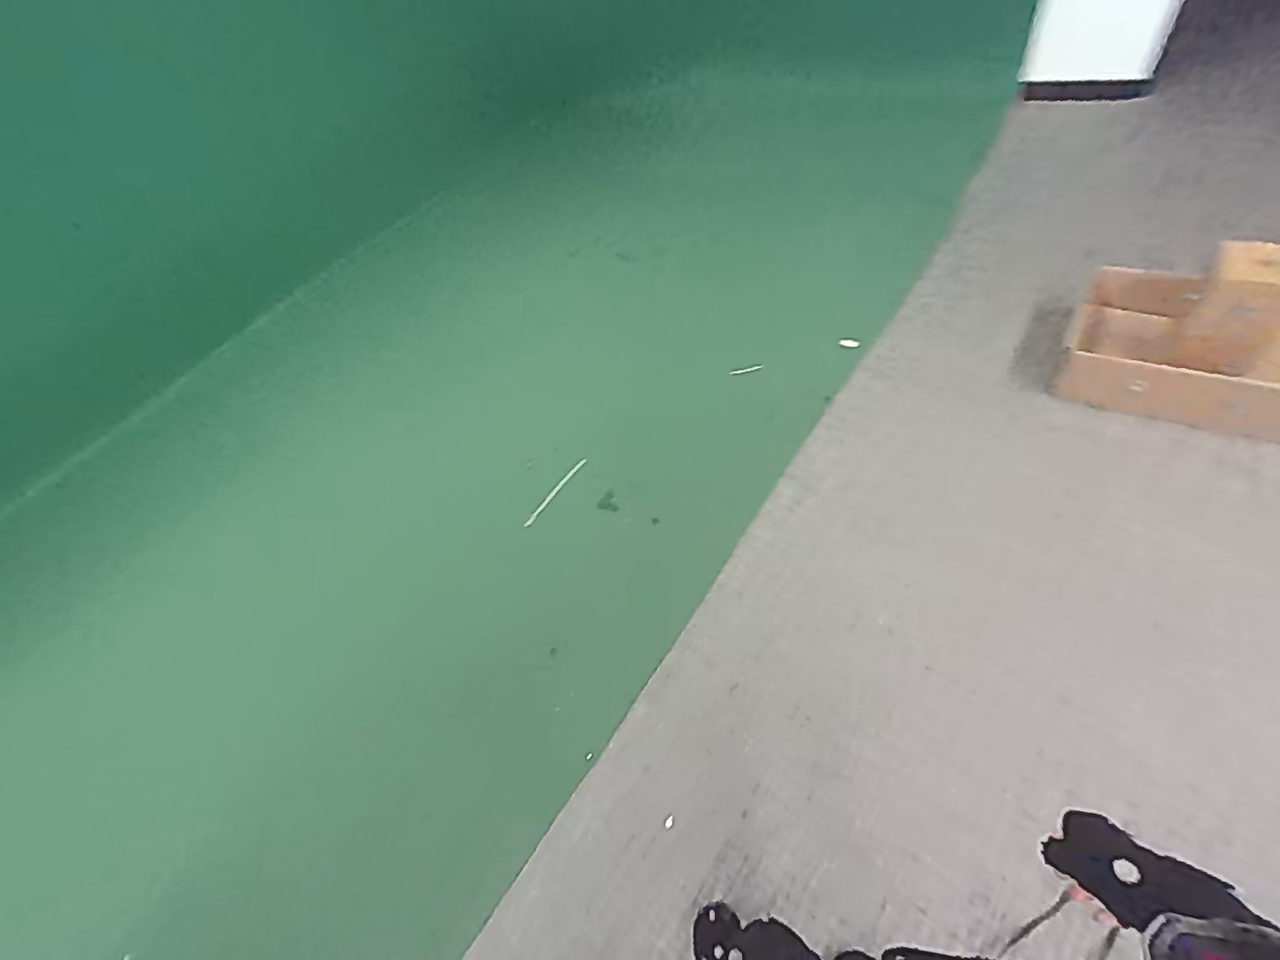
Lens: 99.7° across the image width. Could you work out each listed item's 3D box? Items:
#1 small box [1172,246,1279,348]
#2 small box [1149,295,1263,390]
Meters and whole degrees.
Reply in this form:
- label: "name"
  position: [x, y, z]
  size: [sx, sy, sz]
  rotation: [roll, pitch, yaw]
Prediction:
- label: "small box"
  position: [1.491, -0.450, 1.345]
  size: [0.179, 0.176, 0.168]
  rotation: [22, 63, 29]
- label: "small box"
  position: [1.527, -0.369, 1.463]
  size: [0.168, 0.176, 0.179]
  rotation: [21, 62, 28]
